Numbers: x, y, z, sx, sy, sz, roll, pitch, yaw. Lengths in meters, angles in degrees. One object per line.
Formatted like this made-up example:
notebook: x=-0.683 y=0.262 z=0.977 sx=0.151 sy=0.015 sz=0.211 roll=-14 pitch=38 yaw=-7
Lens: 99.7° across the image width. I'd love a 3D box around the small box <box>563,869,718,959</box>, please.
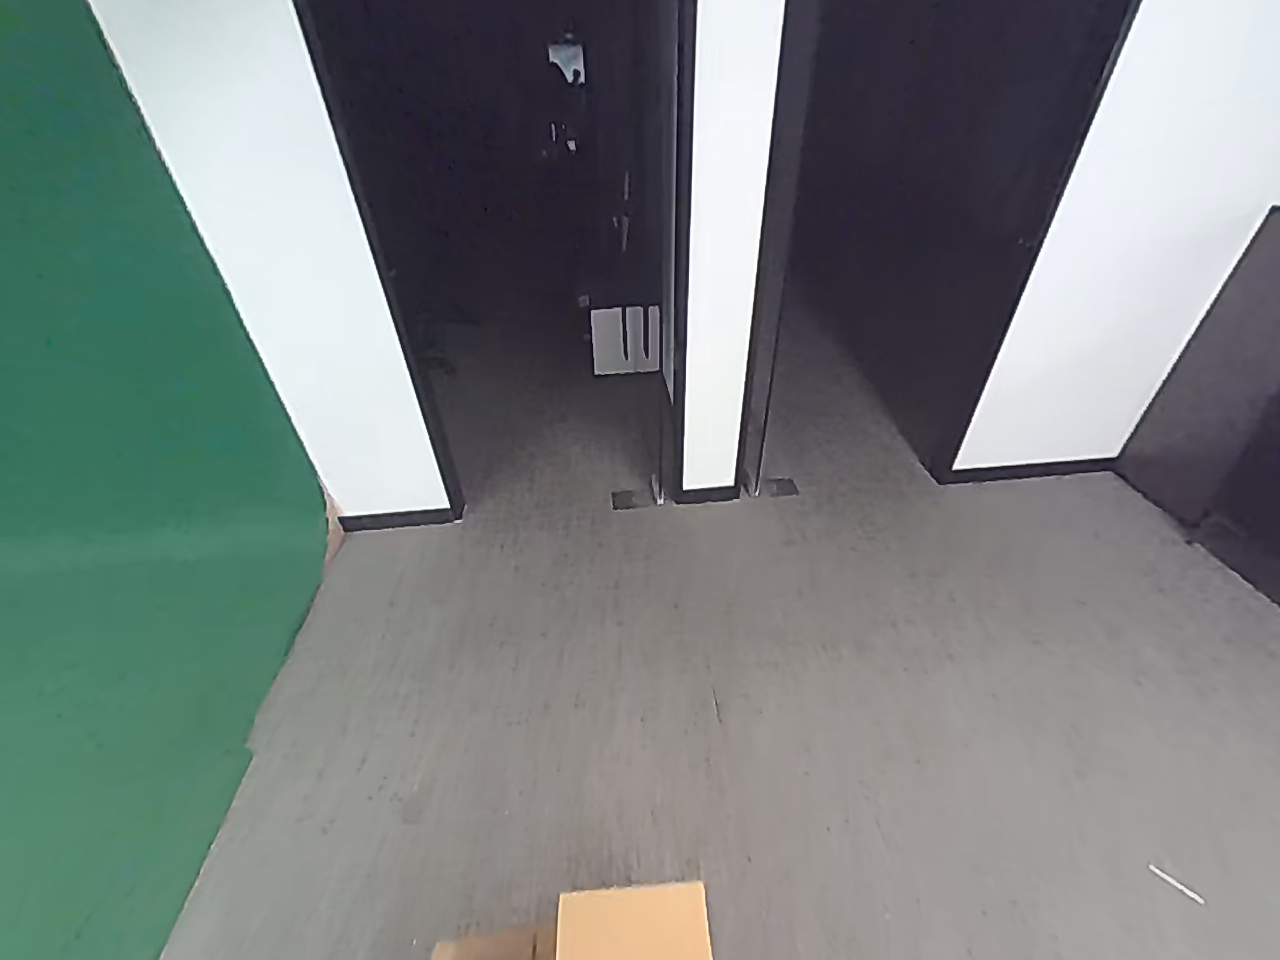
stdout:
small box: x=0.002 y=0.570 z=0.604 sx=0.168 sy=0.176 sz=0.179 roll=-4 pitch=38 yaw=0
